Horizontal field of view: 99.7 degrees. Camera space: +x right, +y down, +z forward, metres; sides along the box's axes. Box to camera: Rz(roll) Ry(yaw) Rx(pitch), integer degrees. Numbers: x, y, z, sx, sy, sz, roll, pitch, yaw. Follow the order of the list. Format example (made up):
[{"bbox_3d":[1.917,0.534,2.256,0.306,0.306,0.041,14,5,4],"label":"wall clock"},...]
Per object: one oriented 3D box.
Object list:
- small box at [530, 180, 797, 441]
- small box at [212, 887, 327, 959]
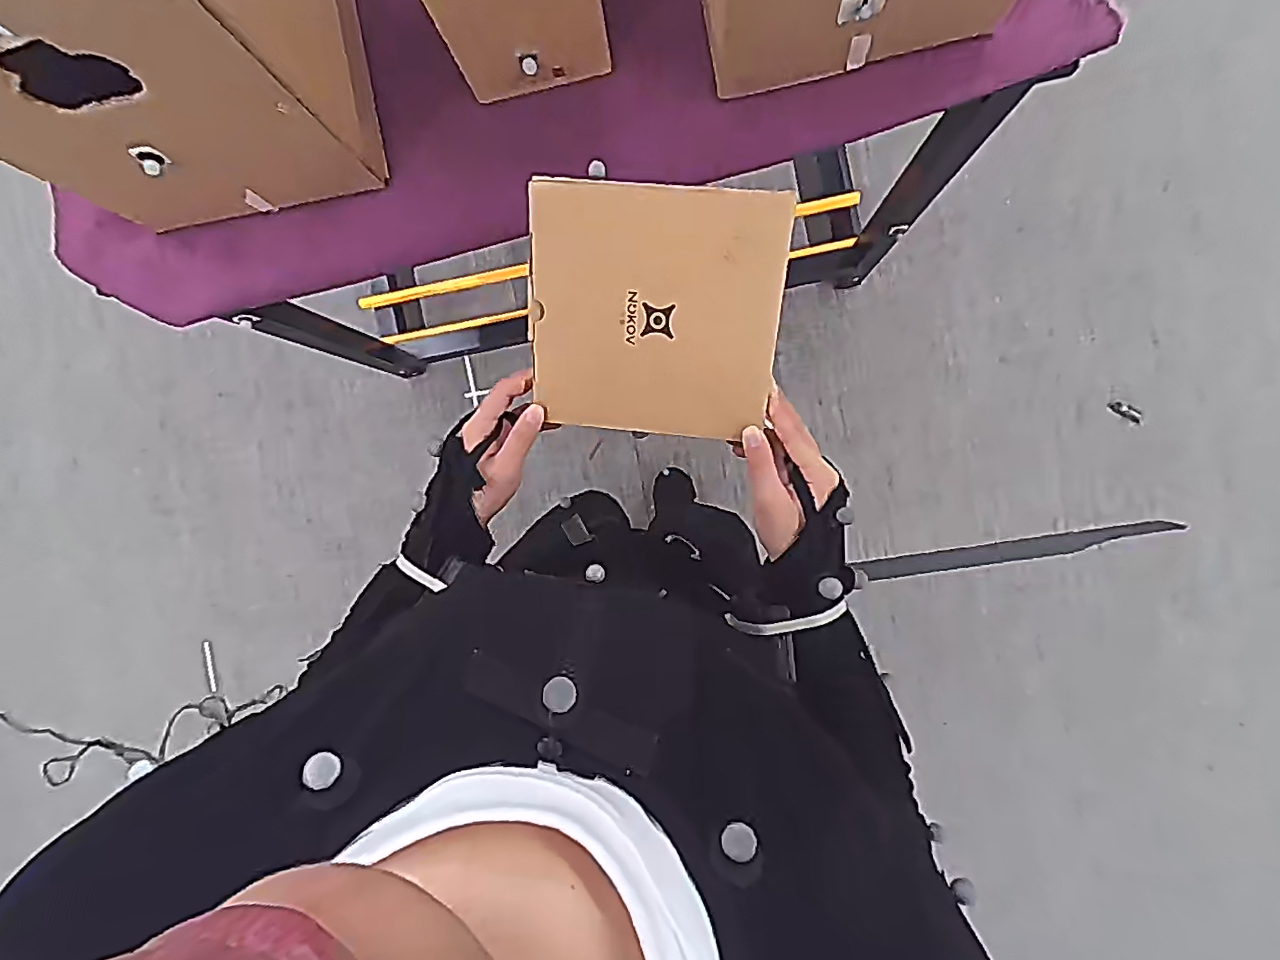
[{"bbox_3d":[0.020,-0.142,0.448,0.179,0.176,0.168,6,113,7],"label":"small box"},{"bbox_3d":[-0.939,1.193,1.392,0.179,0.176,0.168,-11,90,5],"label":"small box"}]
